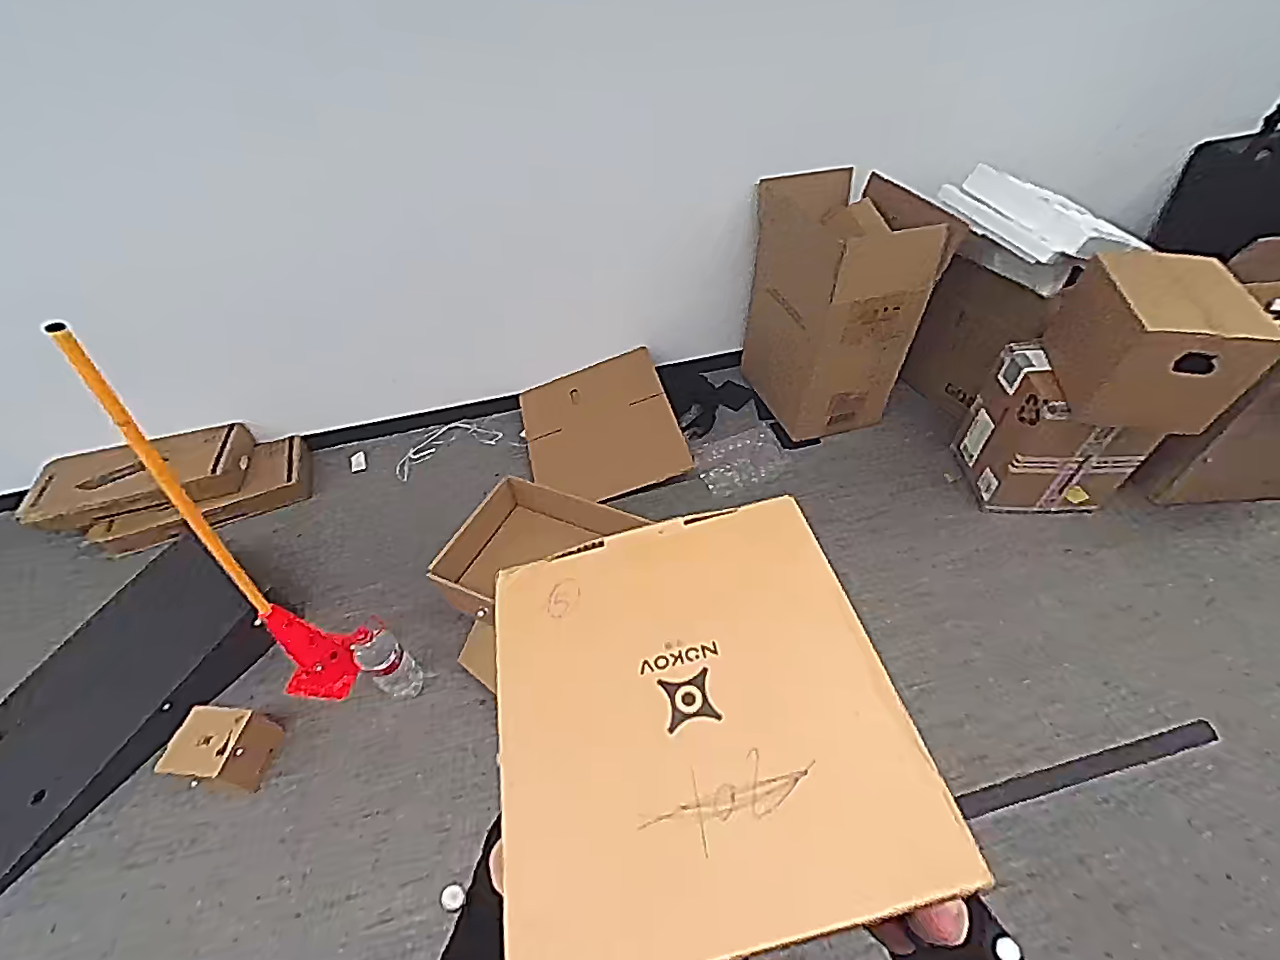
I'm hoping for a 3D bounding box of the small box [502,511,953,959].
[{"bbox_3d":[0.028,0.148,0.305,0.168,0.176,0.179,-13,49,-1],"label":"small box"}]
